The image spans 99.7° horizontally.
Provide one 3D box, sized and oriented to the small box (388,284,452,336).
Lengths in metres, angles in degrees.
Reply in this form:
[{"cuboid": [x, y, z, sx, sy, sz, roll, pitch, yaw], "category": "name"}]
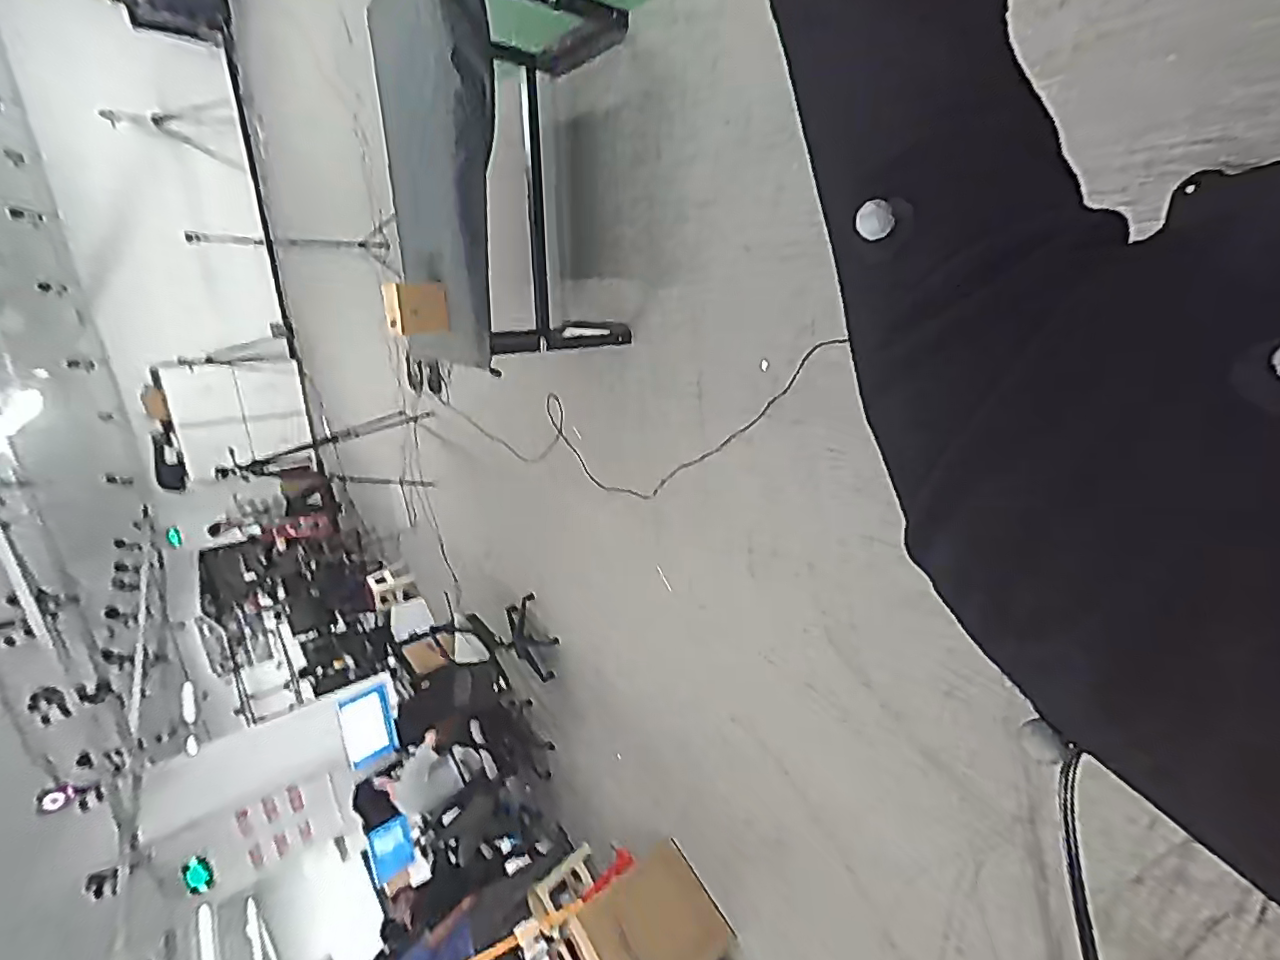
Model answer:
[{"cuboid": [-0.799, -0.620, 1.973, 0.168, 0.176, 0.179, 18, 115, 48], "category": "small box"}]
